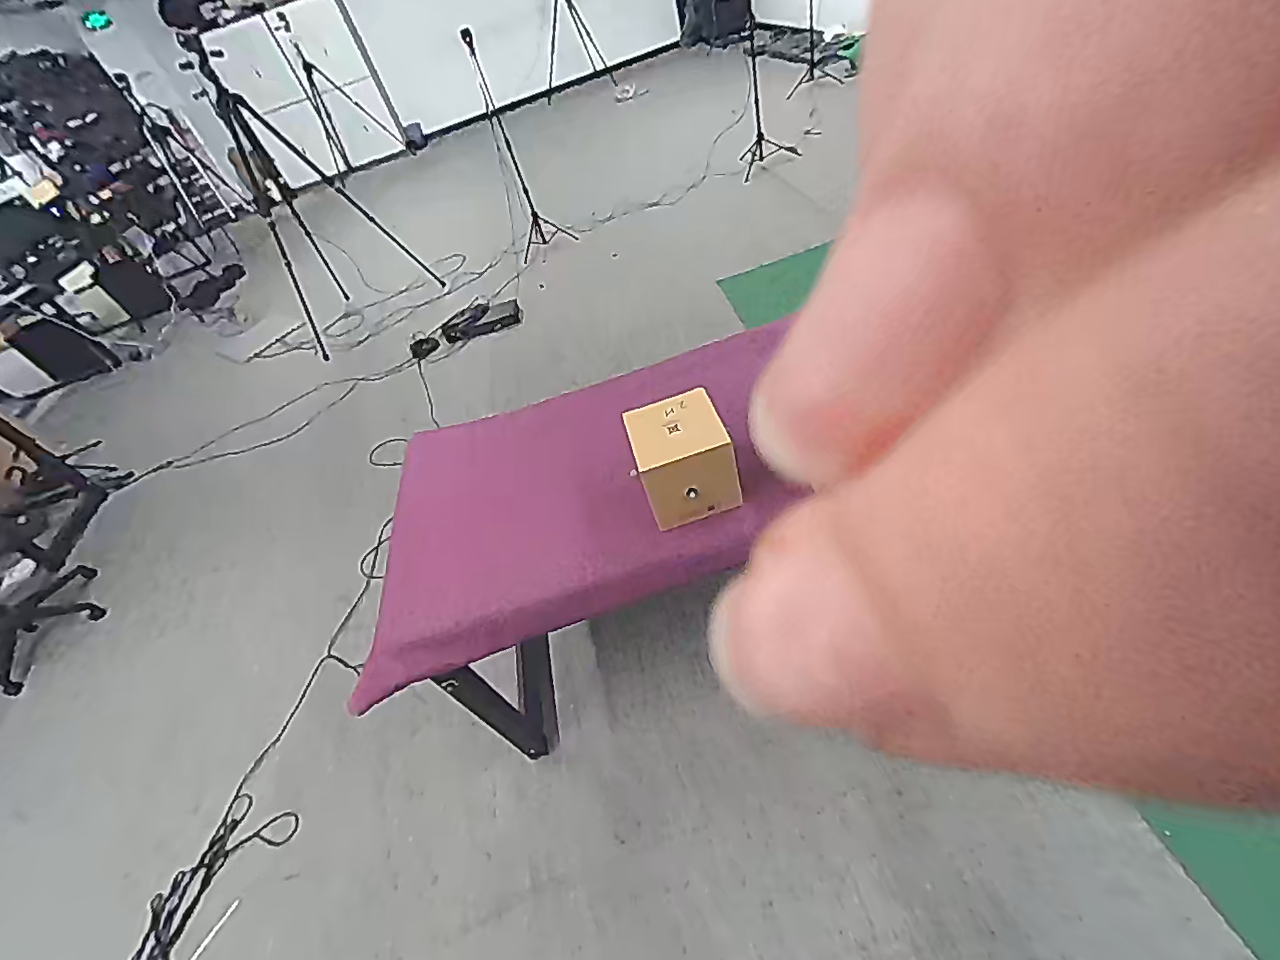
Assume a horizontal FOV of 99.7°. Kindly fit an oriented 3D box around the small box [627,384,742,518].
[{"bbox_3d":[0.087,-0.048,1.031,0.168,0.176,0.179,-18,44,3],"label":"small box"}]
